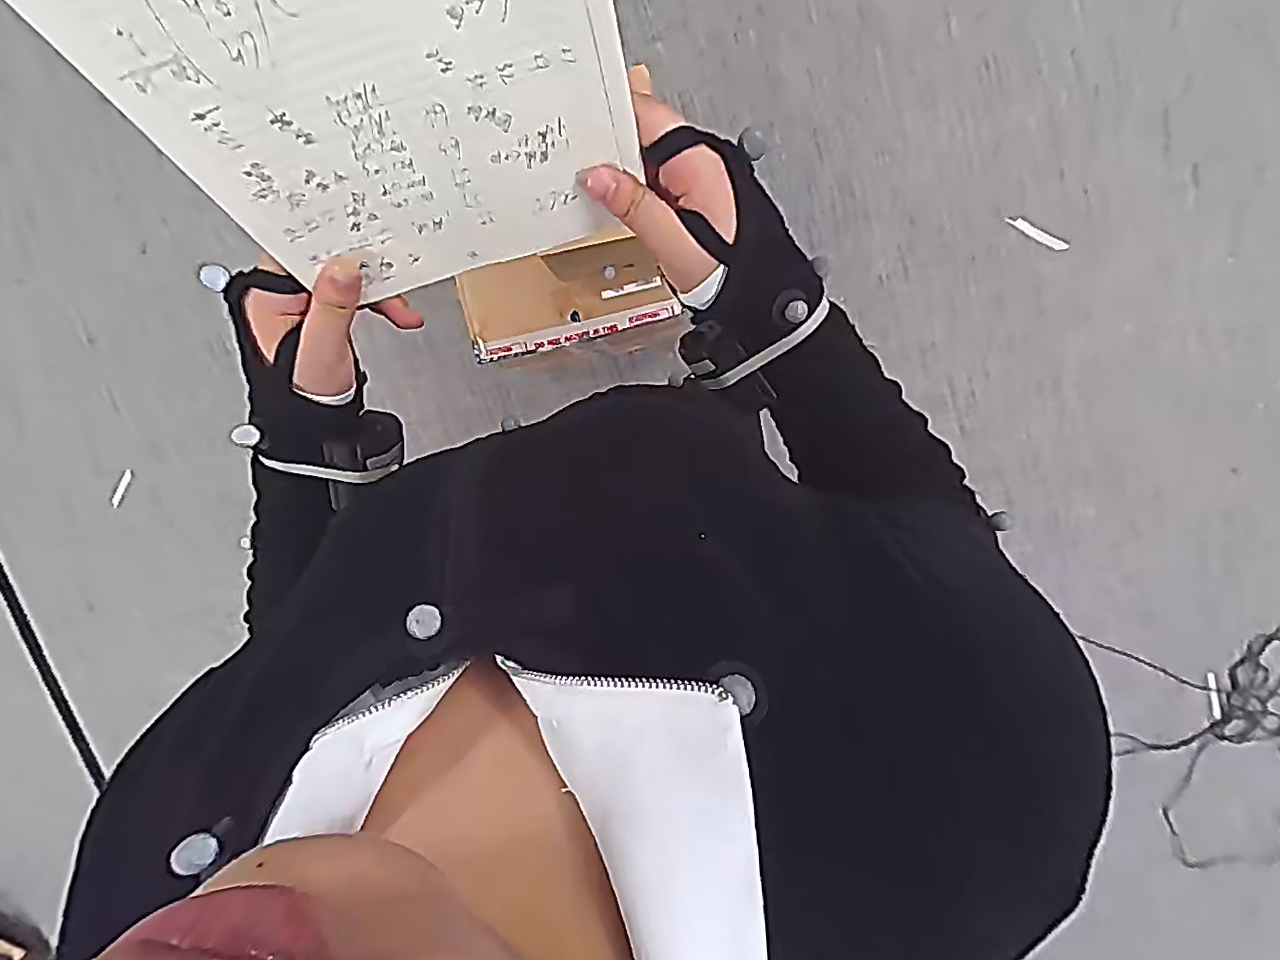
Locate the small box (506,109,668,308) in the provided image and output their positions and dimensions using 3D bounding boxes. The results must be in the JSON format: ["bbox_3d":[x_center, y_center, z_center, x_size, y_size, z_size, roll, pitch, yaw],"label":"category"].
[{"bbox_3d":[-0.060,-0.339,0.710,0.168,0.176,0.179,-10,100,3],"label":"small box"}]

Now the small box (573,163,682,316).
[{"bbox_3d":[-0.038,-0.373,0.870,0.179,0.176,0.168,-14,99,4],"label":"small box"}]
